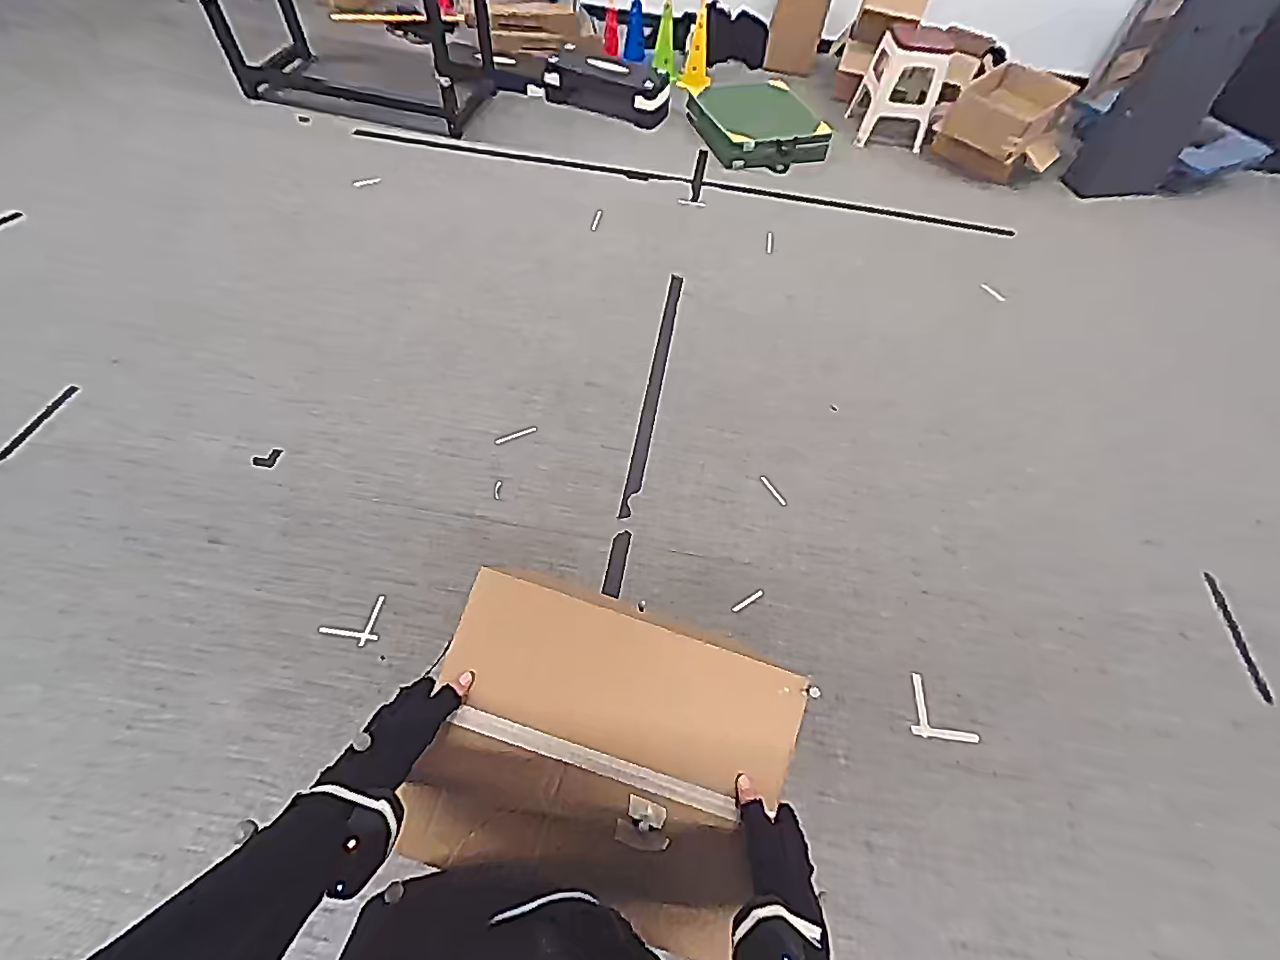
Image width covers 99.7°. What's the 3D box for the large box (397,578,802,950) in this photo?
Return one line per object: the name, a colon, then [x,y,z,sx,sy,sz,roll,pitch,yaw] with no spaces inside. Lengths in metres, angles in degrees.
large box: [-0.046,0.342,0.767,0.408,0.320,0.320,18,81,1]
